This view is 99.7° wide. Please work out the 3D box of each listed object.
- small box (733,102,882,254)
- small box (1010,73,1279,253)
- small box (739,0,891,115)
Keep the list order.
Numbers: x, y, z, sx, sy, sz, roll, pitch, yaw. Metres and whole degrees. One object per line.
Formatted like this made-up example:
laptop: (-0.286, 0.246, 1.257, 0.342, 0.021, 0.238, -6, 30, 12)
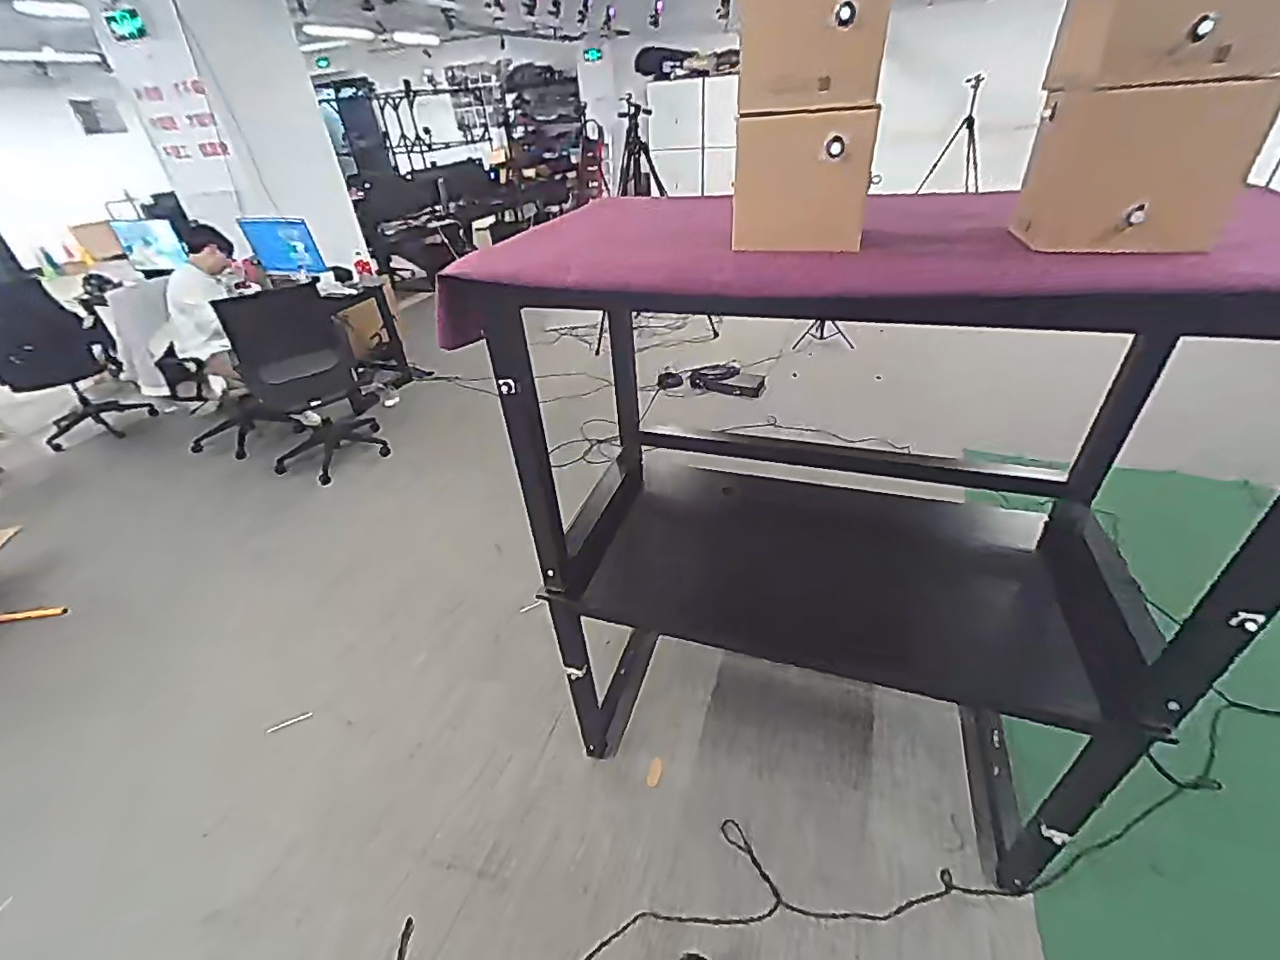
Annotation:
small box: (0.236, -0.429, 0.772, 0.179, 0.176, 0.168, 8, 36, 19)
small box: (0.586, -0.379, 0.654, 0.179, 0.176, 0.168, 8, 35, 18)
small box: (0.223, -0.565, 0.683, 0.168, 0.176, 0.179, 10, 37, 19)
